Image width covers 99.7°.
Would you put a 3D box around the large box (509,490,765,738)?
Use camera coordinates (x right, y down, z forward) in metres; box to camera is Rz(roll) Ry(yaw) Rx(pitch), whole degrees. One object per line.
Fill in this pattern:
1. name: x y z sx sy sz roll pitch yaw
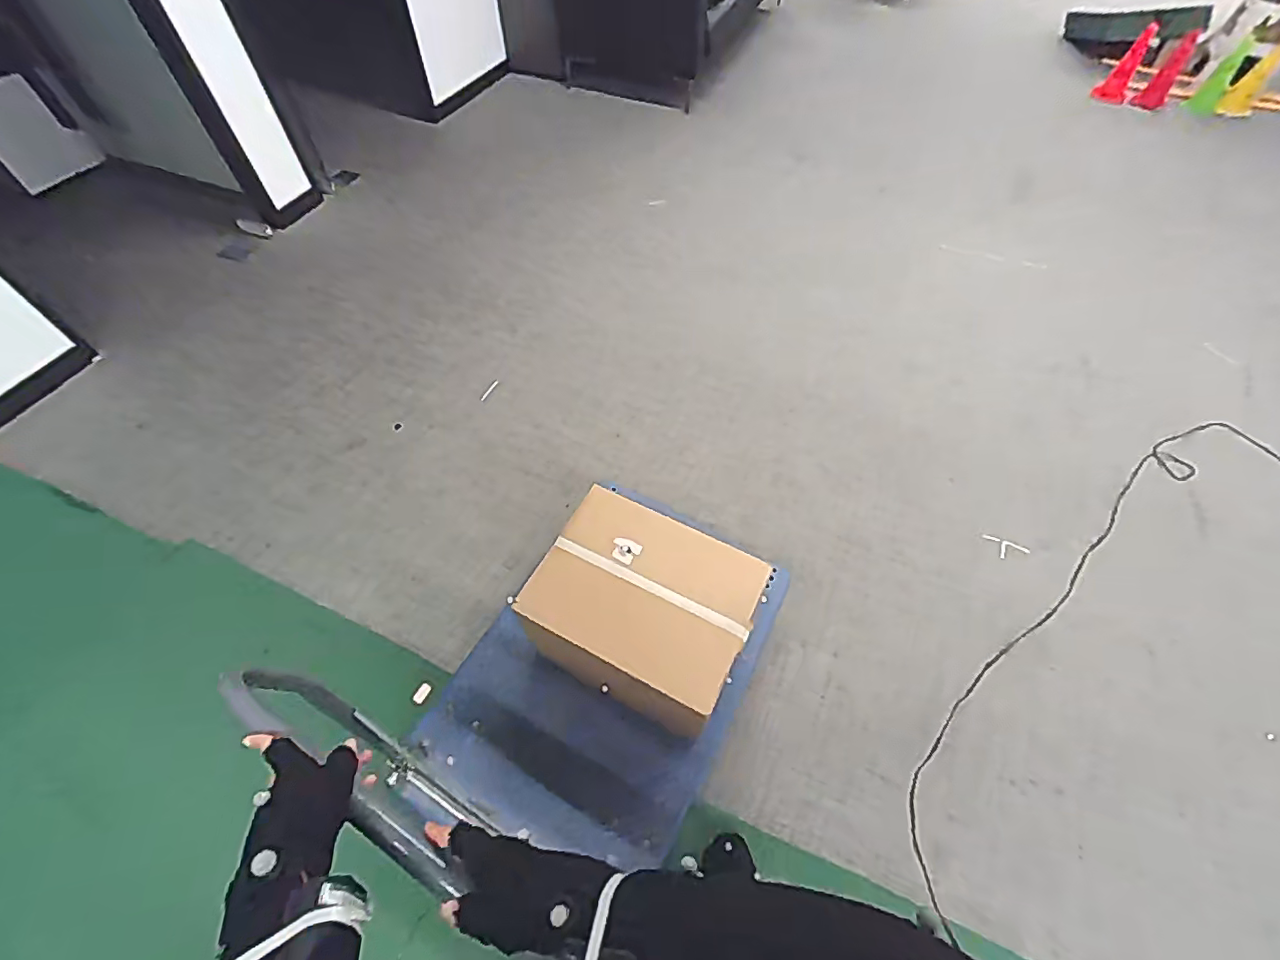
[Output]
1. large box: 0.005 0.287 1.148 0.408 0.320 0.320 24 59 17
